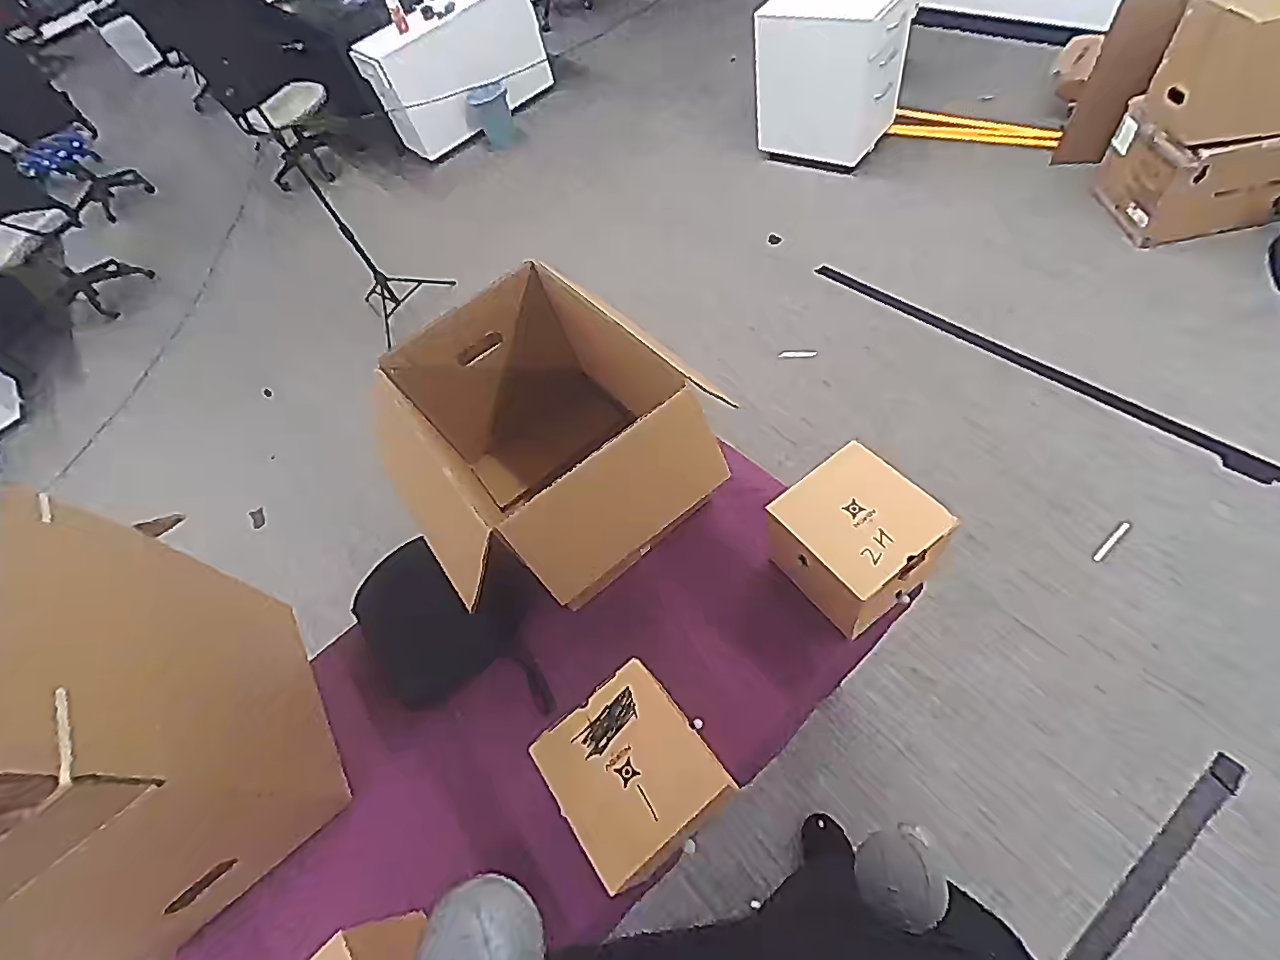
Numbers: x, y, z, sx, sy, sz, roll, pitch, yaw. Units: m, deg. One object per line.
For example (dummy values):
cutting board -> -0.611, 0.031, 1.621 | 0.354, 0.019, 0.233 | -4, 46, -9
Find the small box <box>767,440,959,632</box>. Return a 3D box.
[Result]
small box -> 0.300, 0.084, 0.765 | 0.168, 0.176, 0.179 | -36, 57, -8

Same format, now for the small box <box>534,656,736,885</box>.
small box -> 0.001, 0.358, 0.676 | 0.168, 0.176, 0.179 | -38, 58, -9
